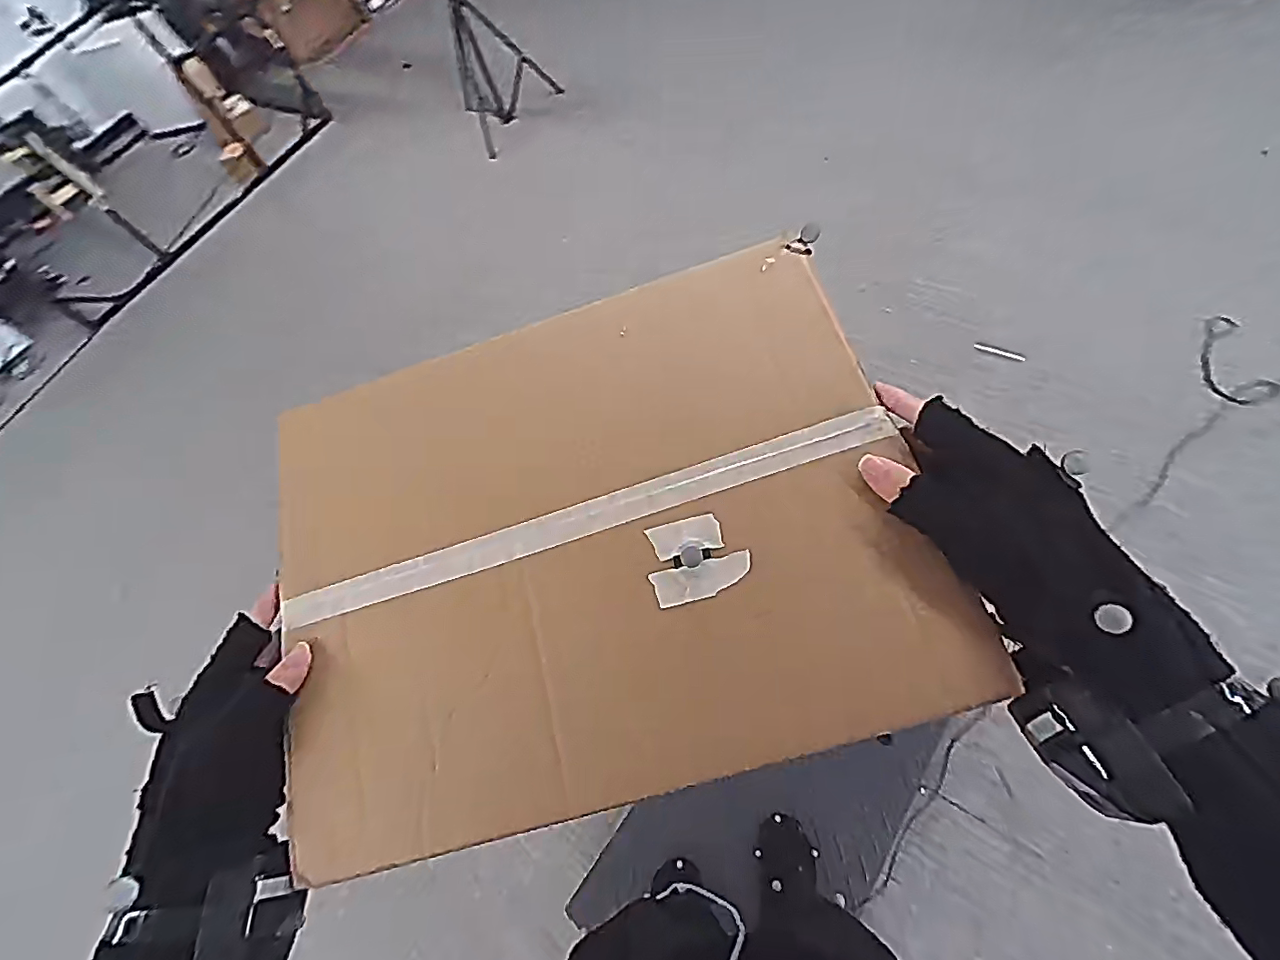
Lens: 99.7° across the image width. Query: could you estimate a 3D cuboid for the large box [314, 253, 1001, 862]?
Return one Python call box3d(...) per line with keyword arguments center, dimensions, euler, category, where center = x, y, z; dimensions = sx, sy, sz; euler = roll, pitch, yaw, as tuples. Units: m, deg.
box3d(center=(-0.006, 0.078, 0.494), dimensions=(0.408, 0.320, 0.320), euler=(-17, 69, 4), category="large box")
